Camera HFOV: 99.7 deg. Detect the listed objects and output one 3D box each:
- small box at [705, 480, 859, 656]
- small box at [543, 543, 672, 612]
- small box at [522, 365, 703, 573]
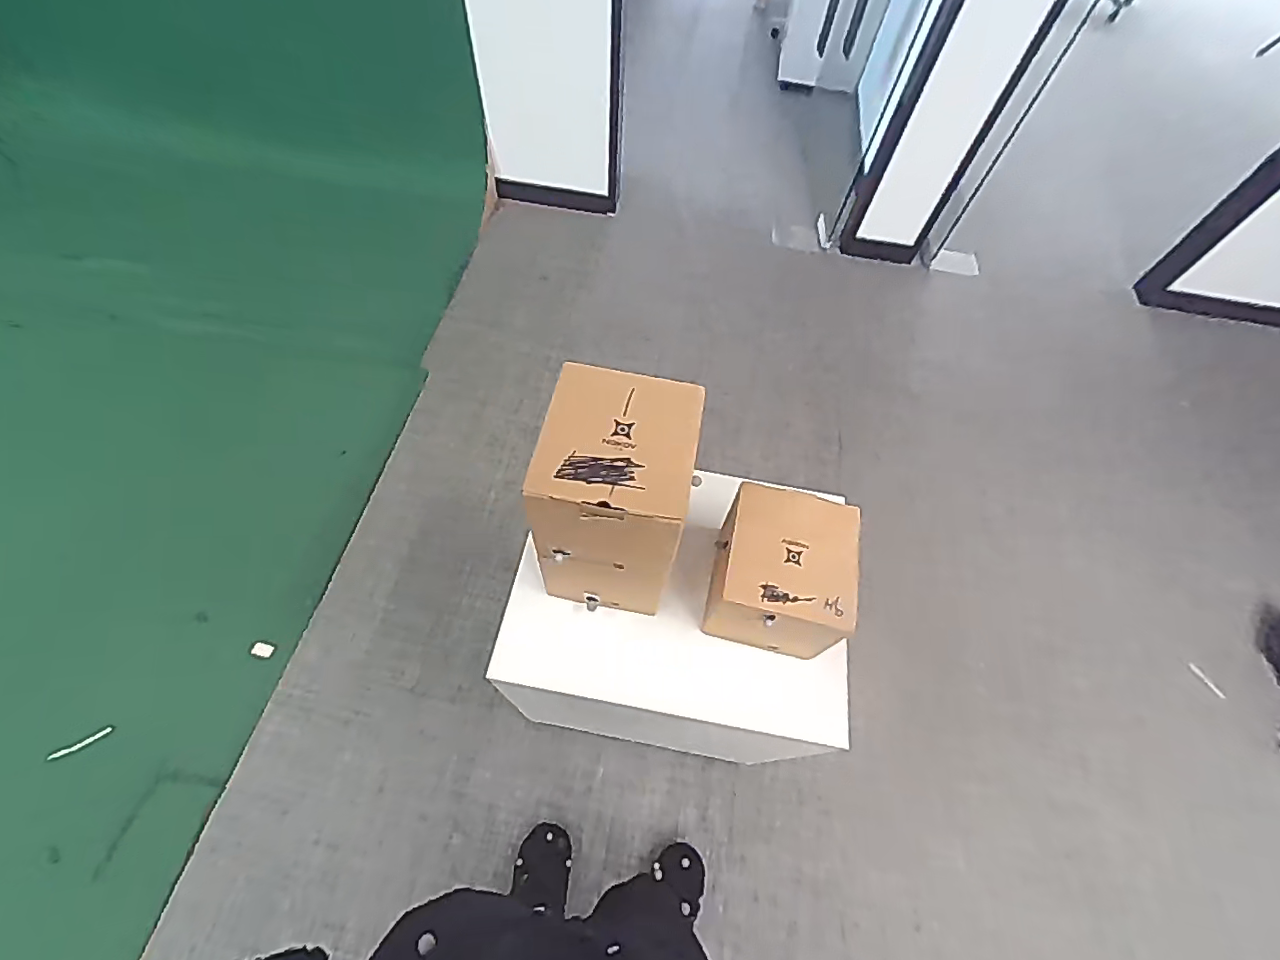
[{"bbox_3d":[0.195,0.130,0.770,0.168,0.176,0.179,14,60,4],"label":"small box"},{"bbox_3d":[-0.035,0.076,0.788,0.168,0.176,0.179,8,62,2],"label":"small box"},{"bbox_3d":[-0.026,-0.005,0.645,0.168,0.176,0.179,11,60,2],"label":"small box"}]
